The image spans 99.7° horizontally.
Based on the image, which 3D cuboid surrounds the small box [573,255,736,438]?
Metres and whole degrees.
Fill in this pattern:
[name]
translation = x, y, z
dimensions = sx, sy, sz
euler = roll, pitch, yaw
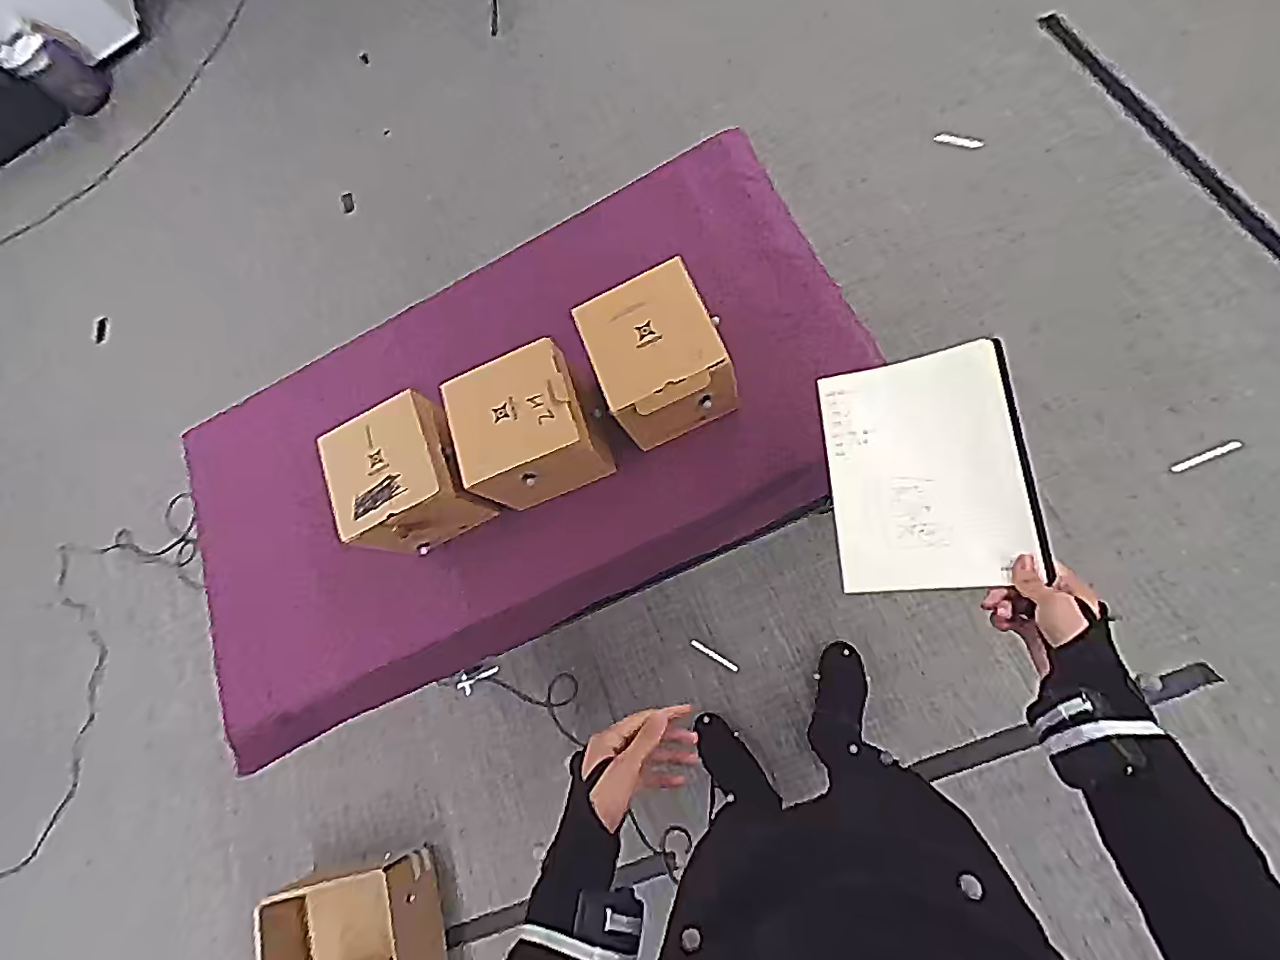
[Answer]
[small box]
translation = 0.029, -0.176, 0.781
dimensions = 0.168, 0.176, 0.179
euler = -24, 71, 8
